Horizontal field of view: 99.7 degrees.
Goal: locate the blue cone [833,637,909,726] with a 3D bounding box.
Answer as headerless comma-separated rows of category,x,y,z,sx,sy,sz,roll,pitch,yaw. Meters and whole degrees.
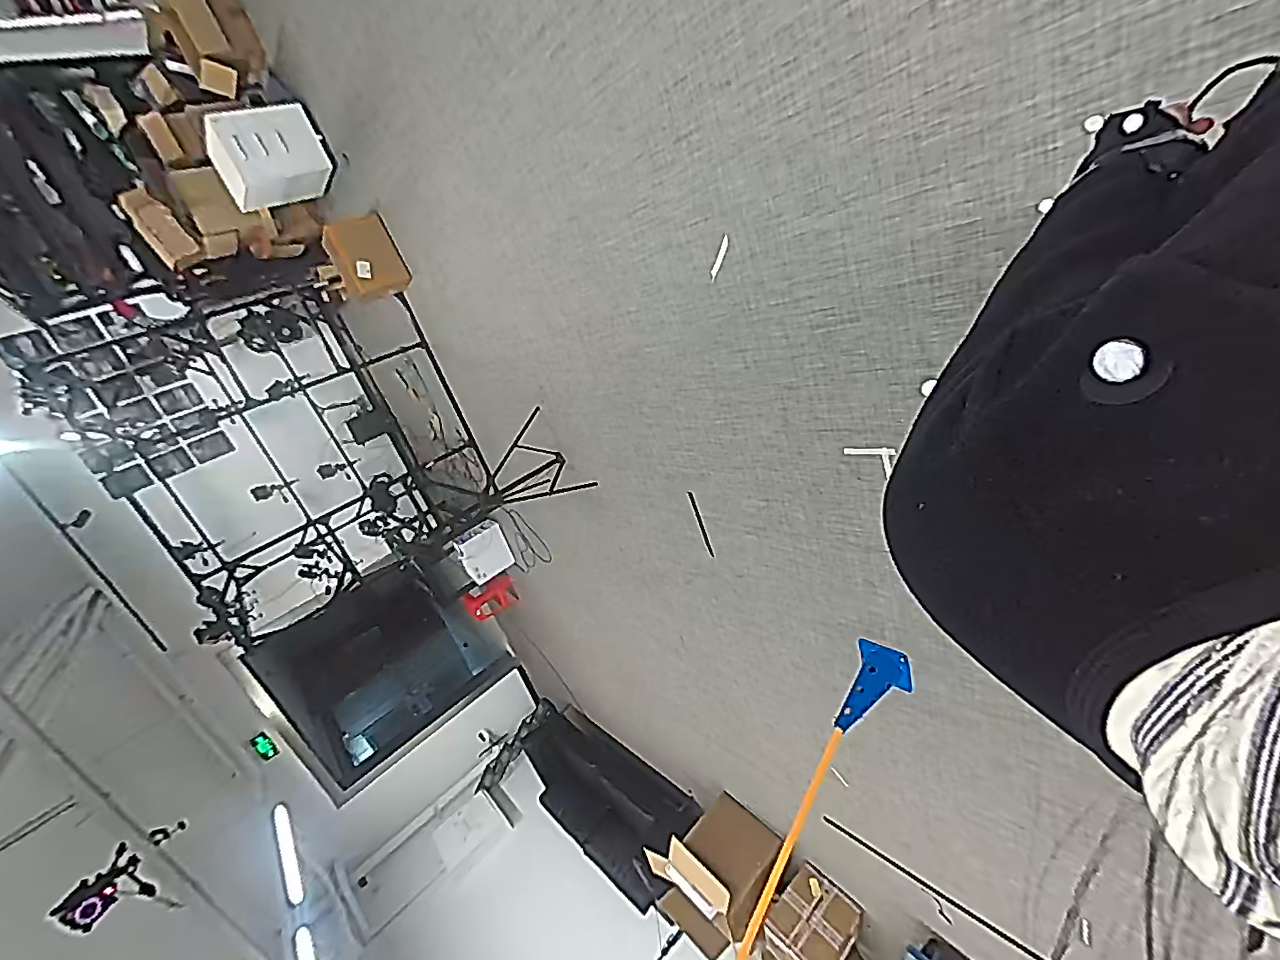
blue cone,0.845,0.793,2.042,0.193,0.380,0.192,13,128,49
